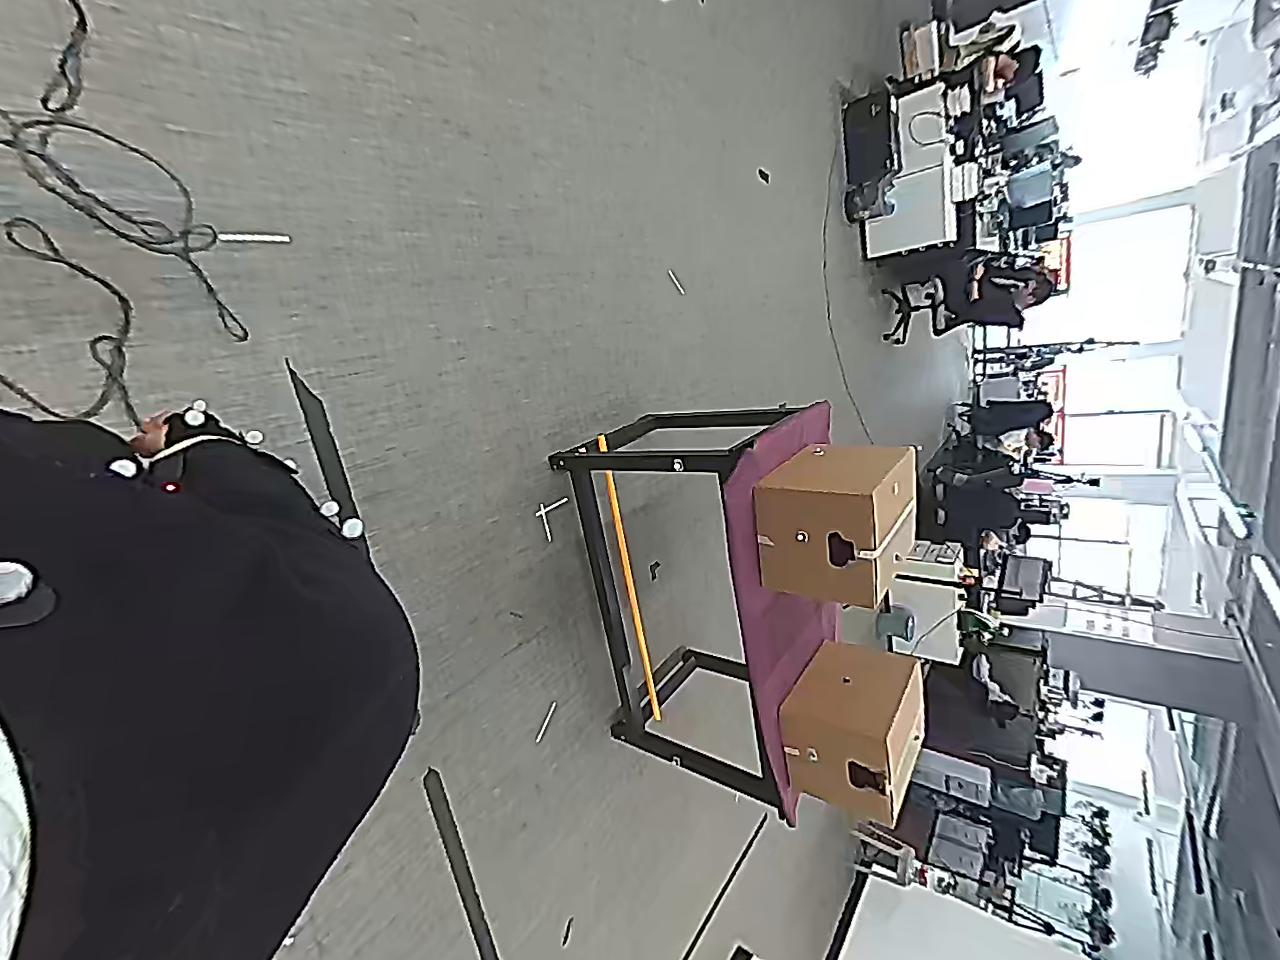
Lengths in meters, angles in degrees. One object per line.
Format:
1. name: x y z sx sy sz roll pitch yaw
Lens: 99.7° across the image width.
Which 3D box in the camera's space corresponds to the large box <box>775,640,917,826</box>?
1. large box: 0.662 0.769 1.715 0.408 0.320 0.320 -29 114 -48
